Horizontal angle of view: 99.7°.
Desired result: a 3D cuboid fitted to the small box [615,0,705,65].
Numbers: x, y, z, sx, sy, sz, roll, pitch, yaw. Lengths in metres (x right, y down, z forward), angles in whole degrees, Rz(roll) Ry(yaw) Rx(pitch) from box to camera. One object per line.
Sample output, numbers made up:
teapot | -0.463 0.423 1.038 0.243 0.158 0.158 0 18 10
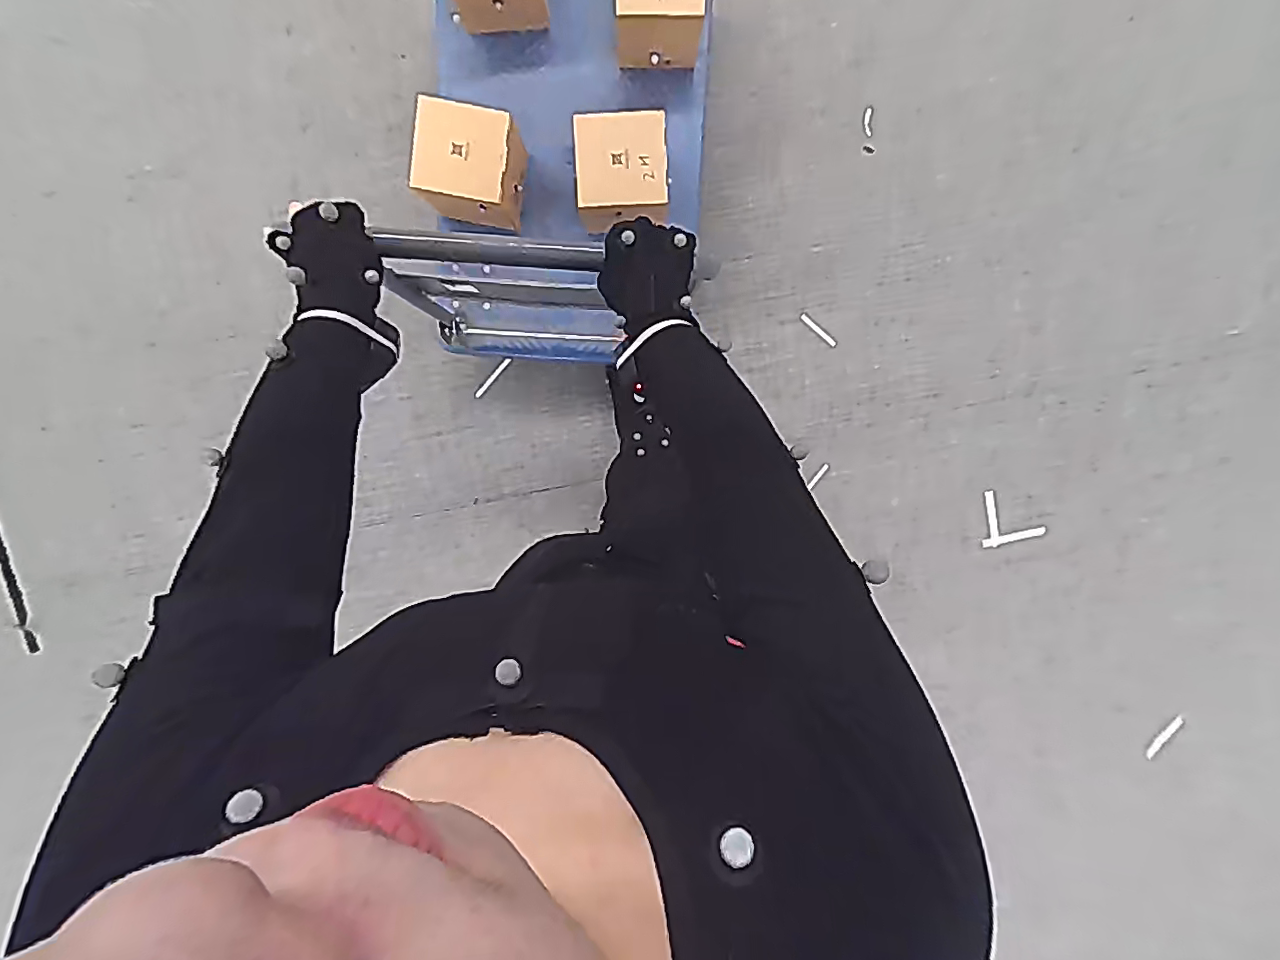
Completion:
small box | 0.035 -0.948 1.043 0.168 0.176 0.179 0 100 0

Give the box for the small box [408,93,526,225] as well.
small box | -0.341 -0.635 1.091 0.179 0.176 0.168 9 99 -3

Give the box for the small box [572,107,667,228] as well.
small box | -0.037 -0.621 1.095 0.179 0.176 0.168 -2 99 0
